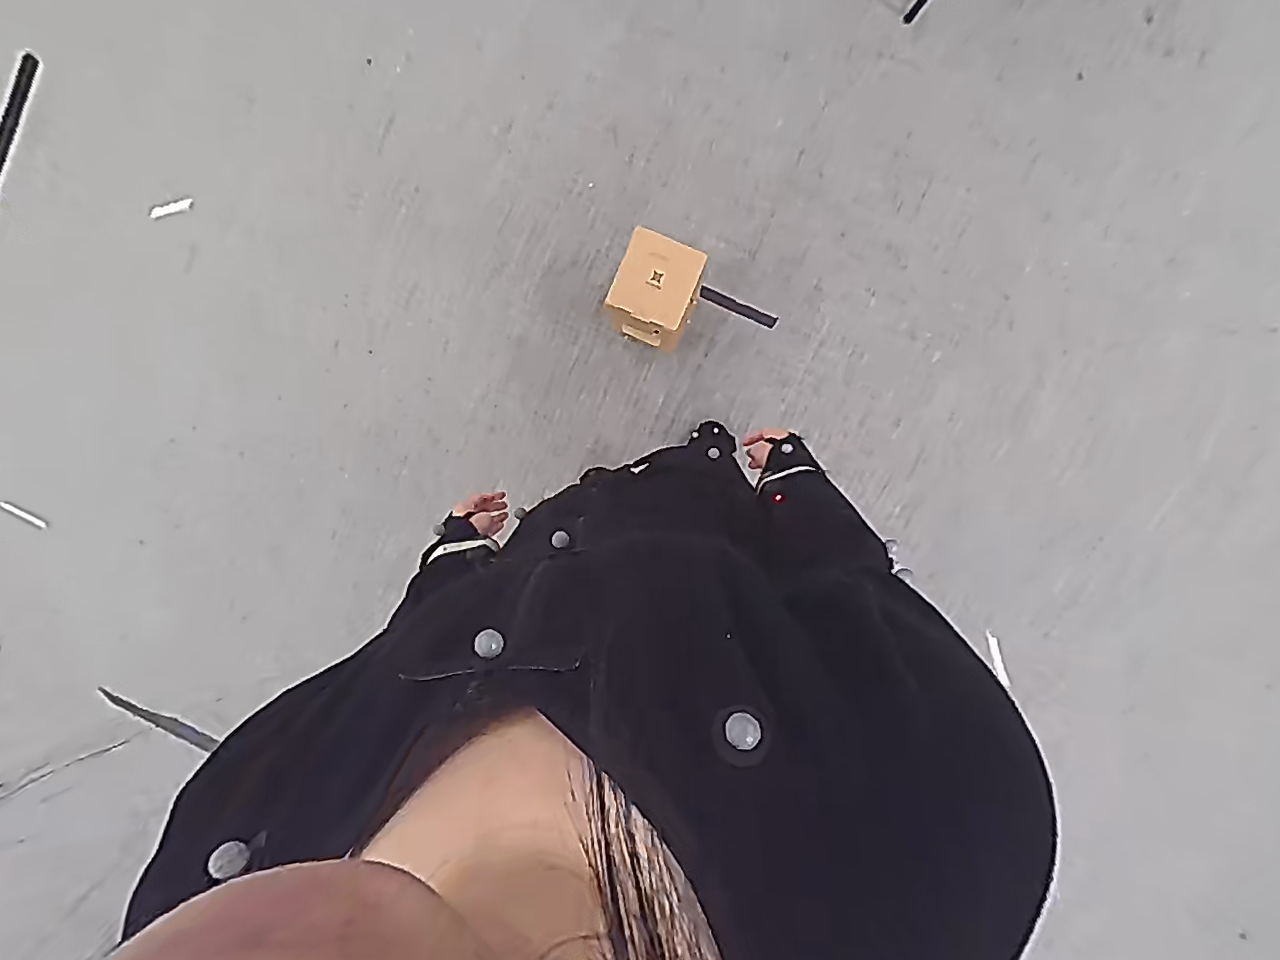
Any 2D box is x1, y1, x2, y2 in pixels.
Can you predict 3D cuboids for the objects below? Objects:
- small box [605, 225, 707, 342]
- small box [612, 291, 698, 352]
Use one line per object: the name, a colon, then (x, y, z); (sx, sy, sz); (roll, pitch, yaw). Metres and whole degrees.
small box: (0.038, -0.428, 1.213); (0.168, 0.176, 0.179); (23, 95, 0)
small box: (0.045, -0.443, 1.375); (0.168, 0.176, 0.179); (24, 95, 1)
